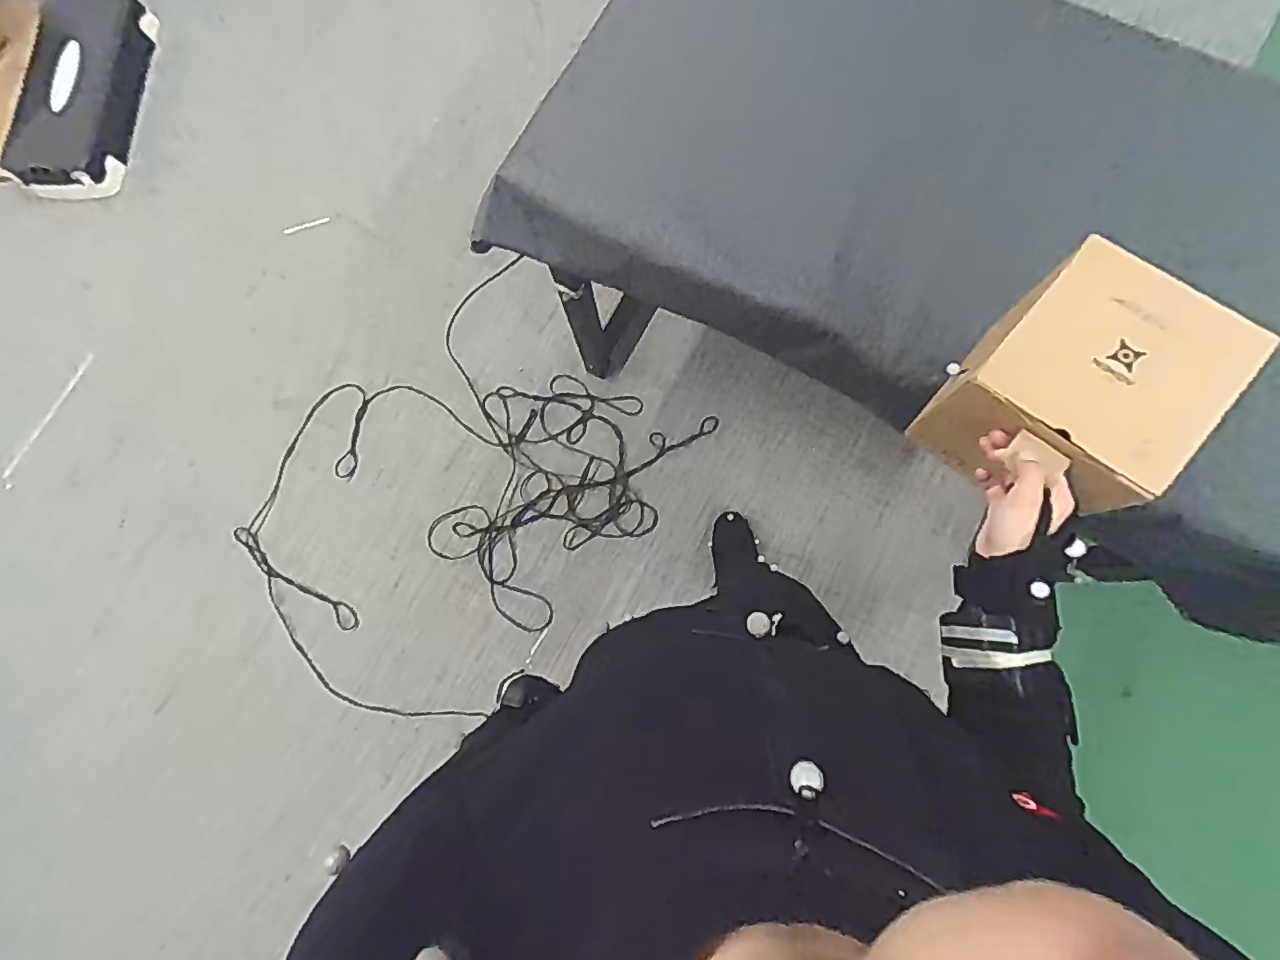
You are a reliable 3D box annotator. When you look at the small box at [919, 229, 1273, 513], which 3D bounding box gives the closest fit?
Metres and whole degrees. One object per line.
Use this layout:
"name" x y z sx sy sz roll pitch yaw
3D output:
"small box" 0.405 -0.088 0.523 0.168 0.176 0.179 39 84 12
